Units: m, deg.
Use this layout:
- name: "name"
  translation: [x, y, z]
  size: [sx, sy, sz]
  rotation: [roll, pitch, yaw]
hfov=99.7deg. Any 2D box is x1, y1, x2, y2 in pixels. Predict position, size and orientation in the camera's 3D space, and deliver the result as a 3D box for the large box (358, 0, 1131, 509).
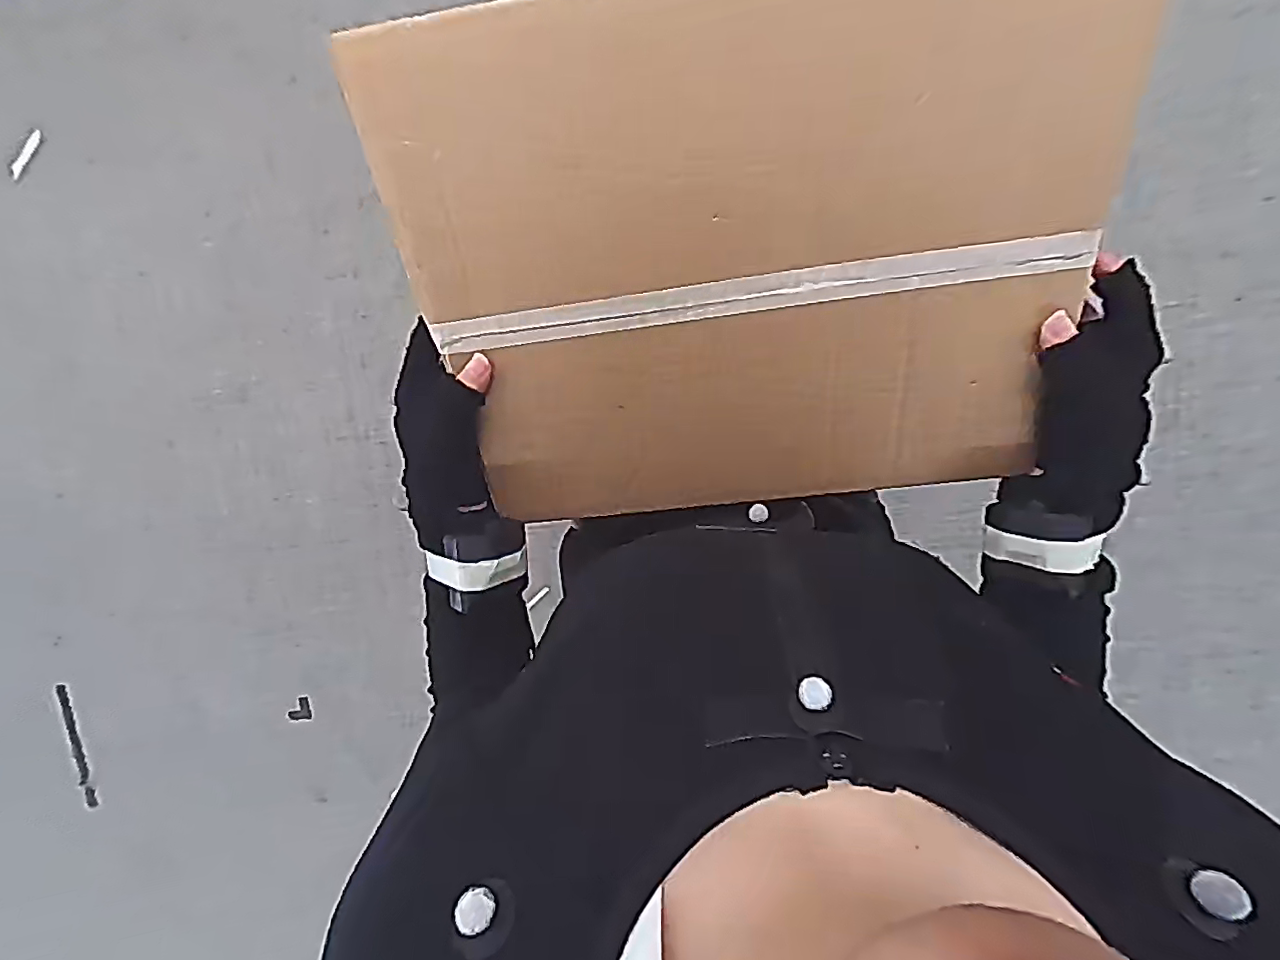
- name: "large box"
  translation: [0.066, -0.204, 0.472]
  size: [0.408, 0.320, 0.320]
  rotation: [-6, 123, 6]
